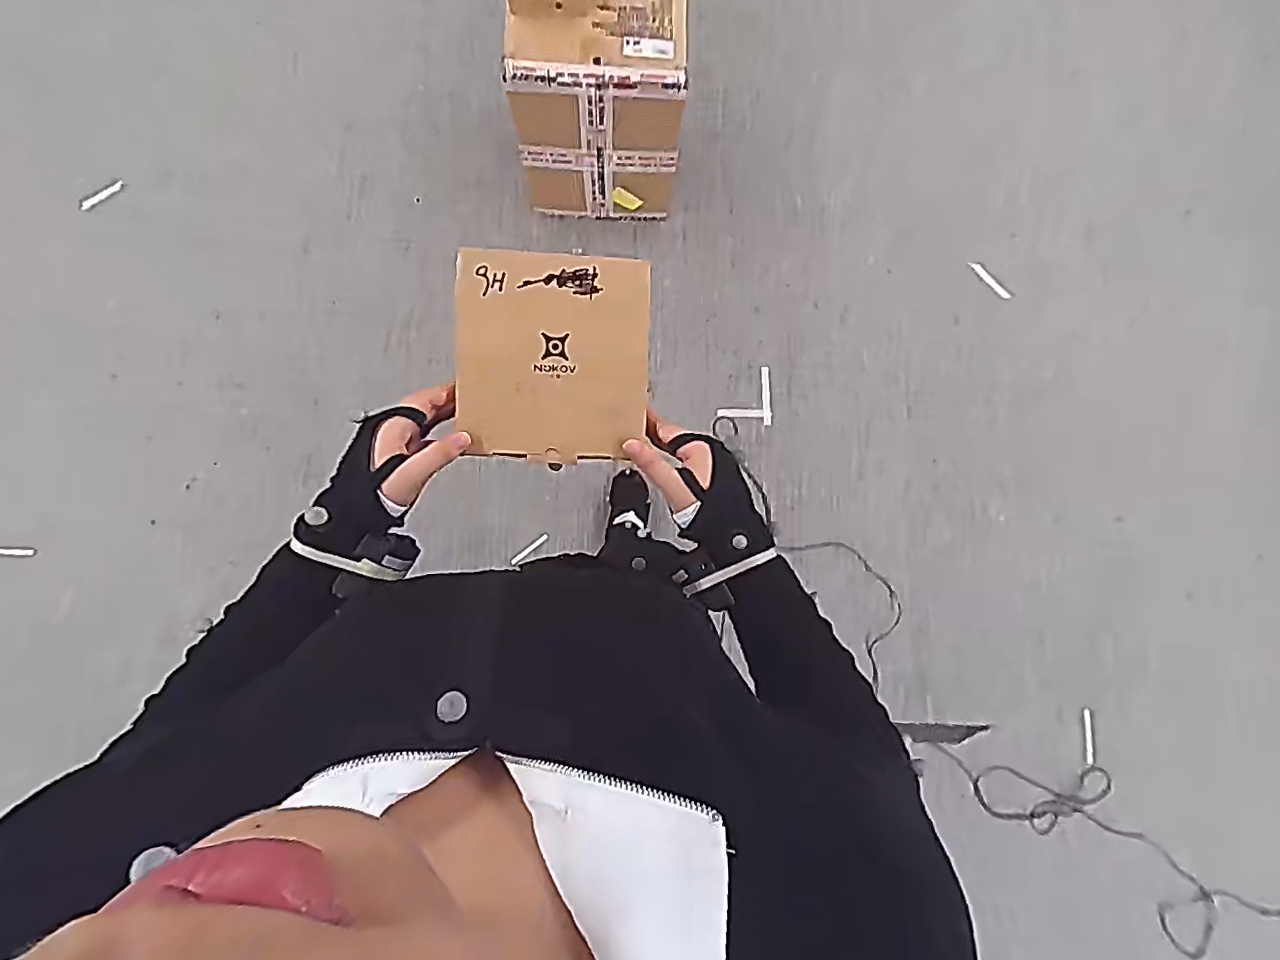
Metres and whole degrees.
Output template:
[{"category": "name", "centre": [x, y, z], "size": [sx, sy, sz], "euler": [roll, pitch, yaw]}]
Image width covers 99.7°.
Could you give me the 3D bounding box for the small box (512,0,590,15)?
[{"category": "small box", "centre": [-0.186, -1.073, 1.063], "size": [0.168, 0.176, 0.179], "euler": [0, 85, 0]}]
